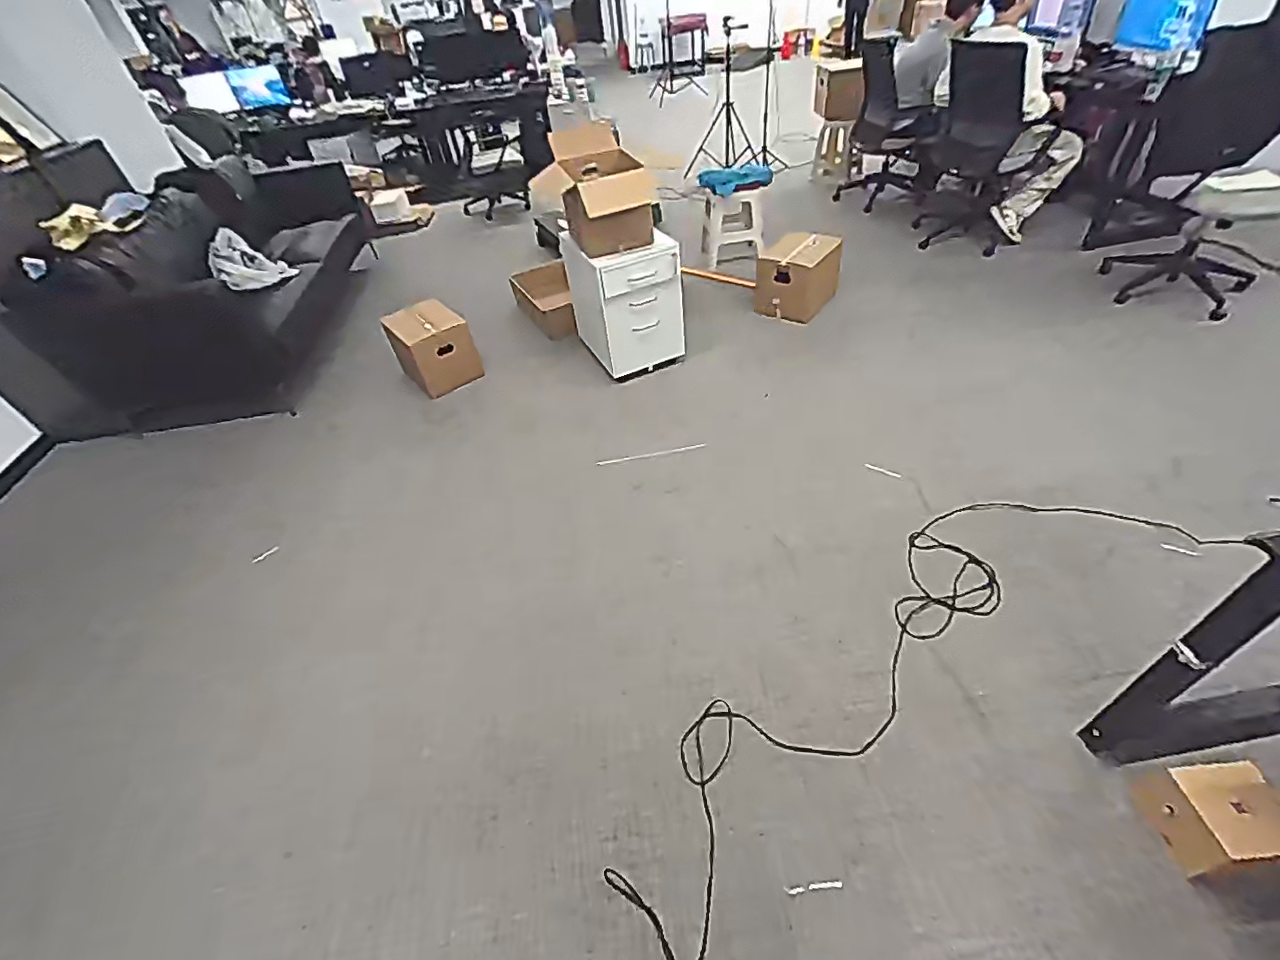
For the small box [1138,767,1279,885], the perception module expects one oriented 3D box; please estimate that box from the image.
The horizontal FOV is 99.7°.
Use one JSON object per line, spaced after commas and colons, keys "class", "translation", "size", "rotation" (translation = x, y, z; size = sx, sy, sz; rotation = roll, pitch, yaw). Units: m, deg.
{"class": "small box", "translation": [1.204, 0.724, 1.128], "size": [0.179, 0.176, 0.168], "rotation": [-6, 43, 2]}
